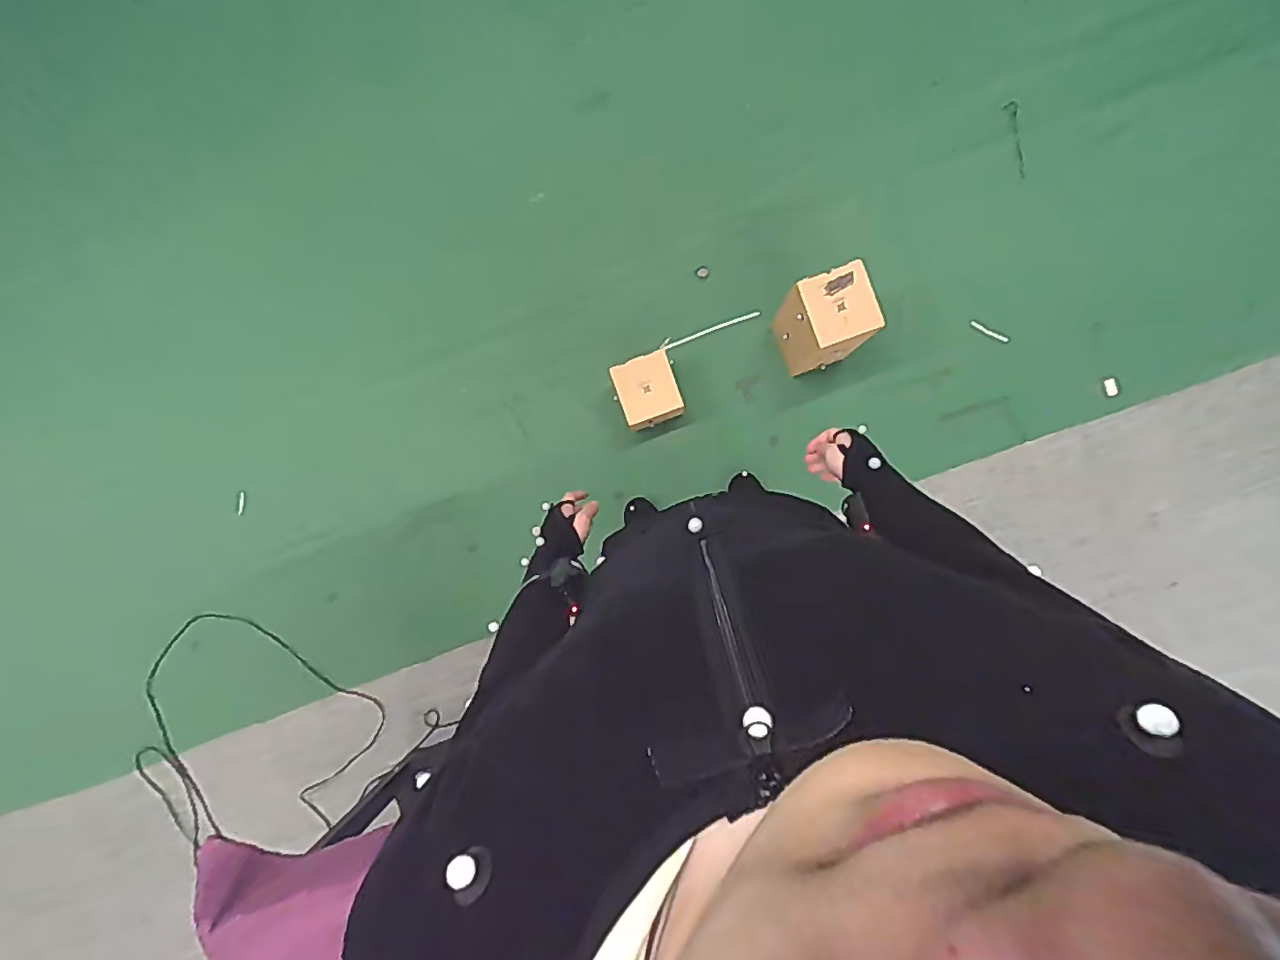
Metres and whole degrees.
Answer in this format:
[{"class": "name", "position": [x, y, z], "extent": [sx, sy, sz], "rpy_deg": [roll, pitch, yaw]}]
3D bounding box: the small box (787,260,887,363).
[{"class": "small box", "position": [0.491, -0.422, 1.378], "extent": [0.168, 0.176, 0.179], "rpy_deg": [-20, 88, 3]}]

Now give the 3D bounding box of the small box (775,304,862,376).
[{"class": "small box", "position": [0.500, -0.418, 1.541], "extent": [0.168, 0.176, 0.179], "rpy_deg": [-19, 88, 3]}]

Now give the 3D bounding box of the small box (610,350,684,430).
[{"class": "small box", "position": [0.026, -0.251, 1.574], "extent": [0.168, 0.176, 0.179], "rpy_deg": [-20, 87, 4]}]
